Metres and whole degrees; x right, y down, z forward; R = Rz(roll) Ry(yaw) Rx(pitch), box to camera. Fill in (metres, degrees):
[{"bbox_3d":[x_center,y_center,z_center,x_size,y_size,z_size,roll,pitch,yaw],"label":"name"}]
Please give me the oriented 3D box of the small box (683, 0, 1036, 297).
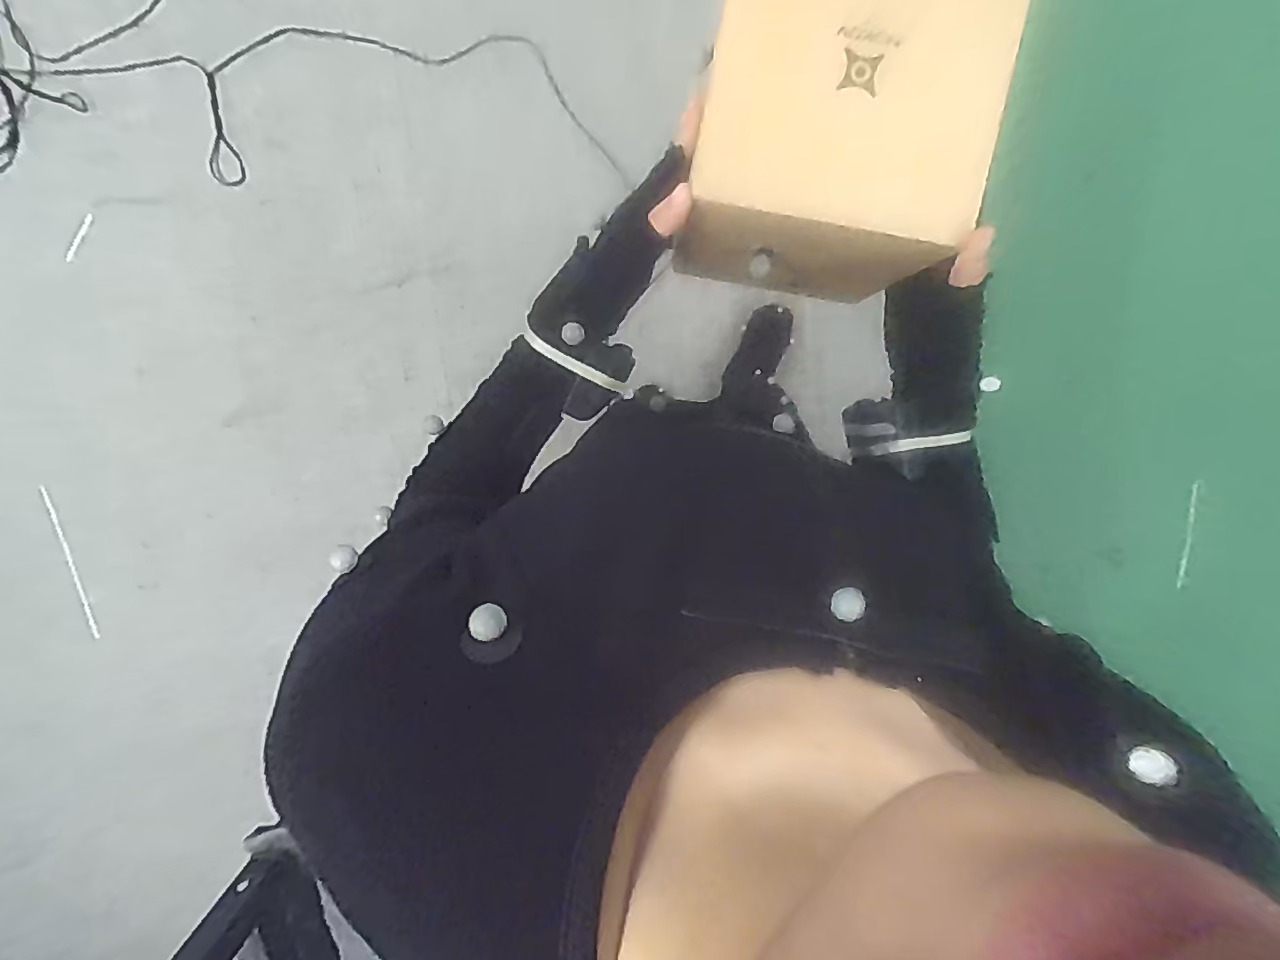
[{"bbox_3d":[0.125,-0.241,0.374,0.168,0.176,0.179,10,95,-1],"label":"small box"}]
